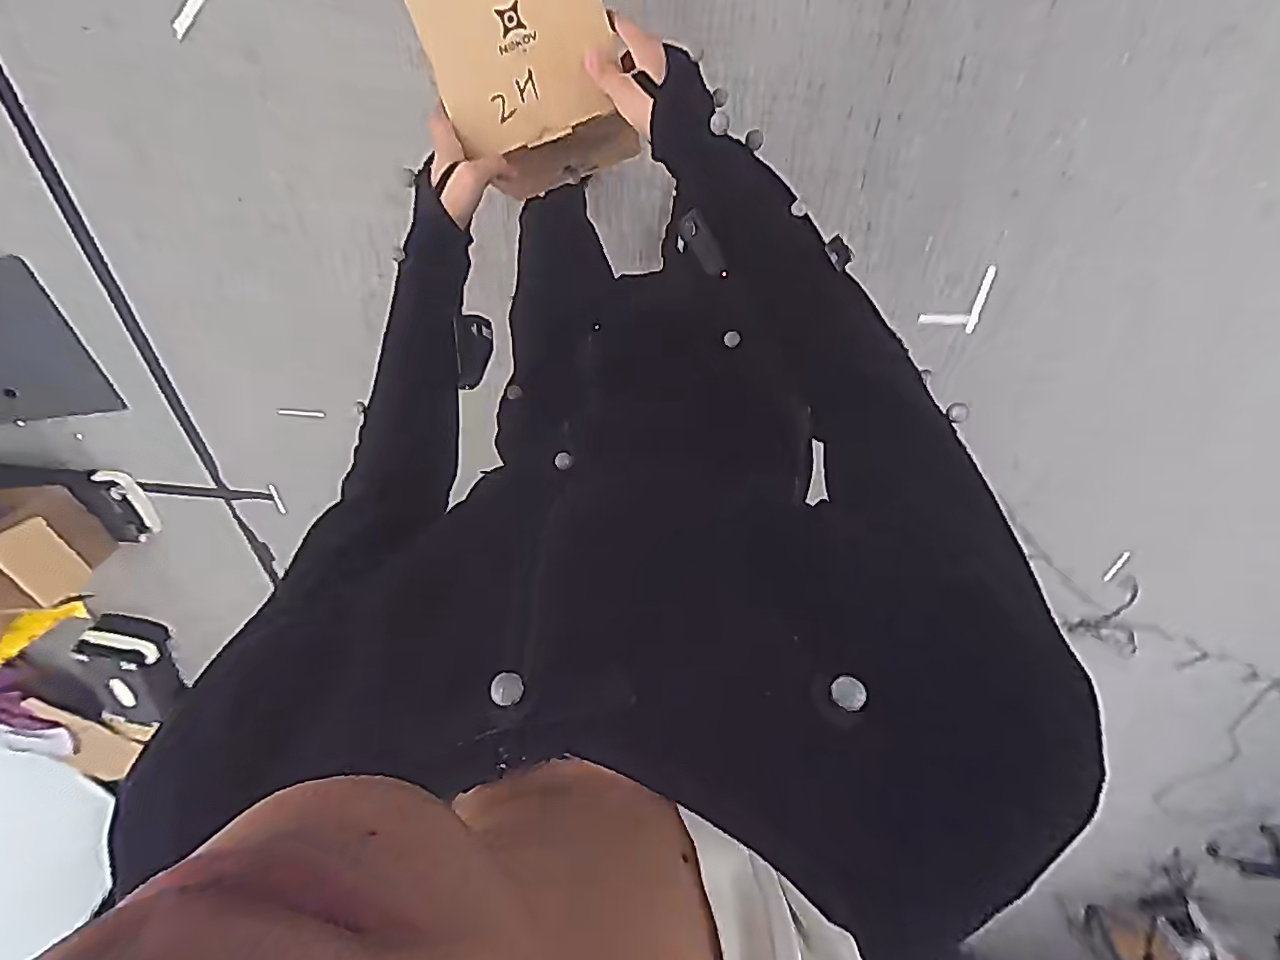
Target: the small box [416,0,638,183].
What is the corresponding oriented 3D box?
[{"bbox_3d":[-0.105,-0.431,0.544,0.168,0.176,0.179,-16,106,8],"label":"small box"}]
